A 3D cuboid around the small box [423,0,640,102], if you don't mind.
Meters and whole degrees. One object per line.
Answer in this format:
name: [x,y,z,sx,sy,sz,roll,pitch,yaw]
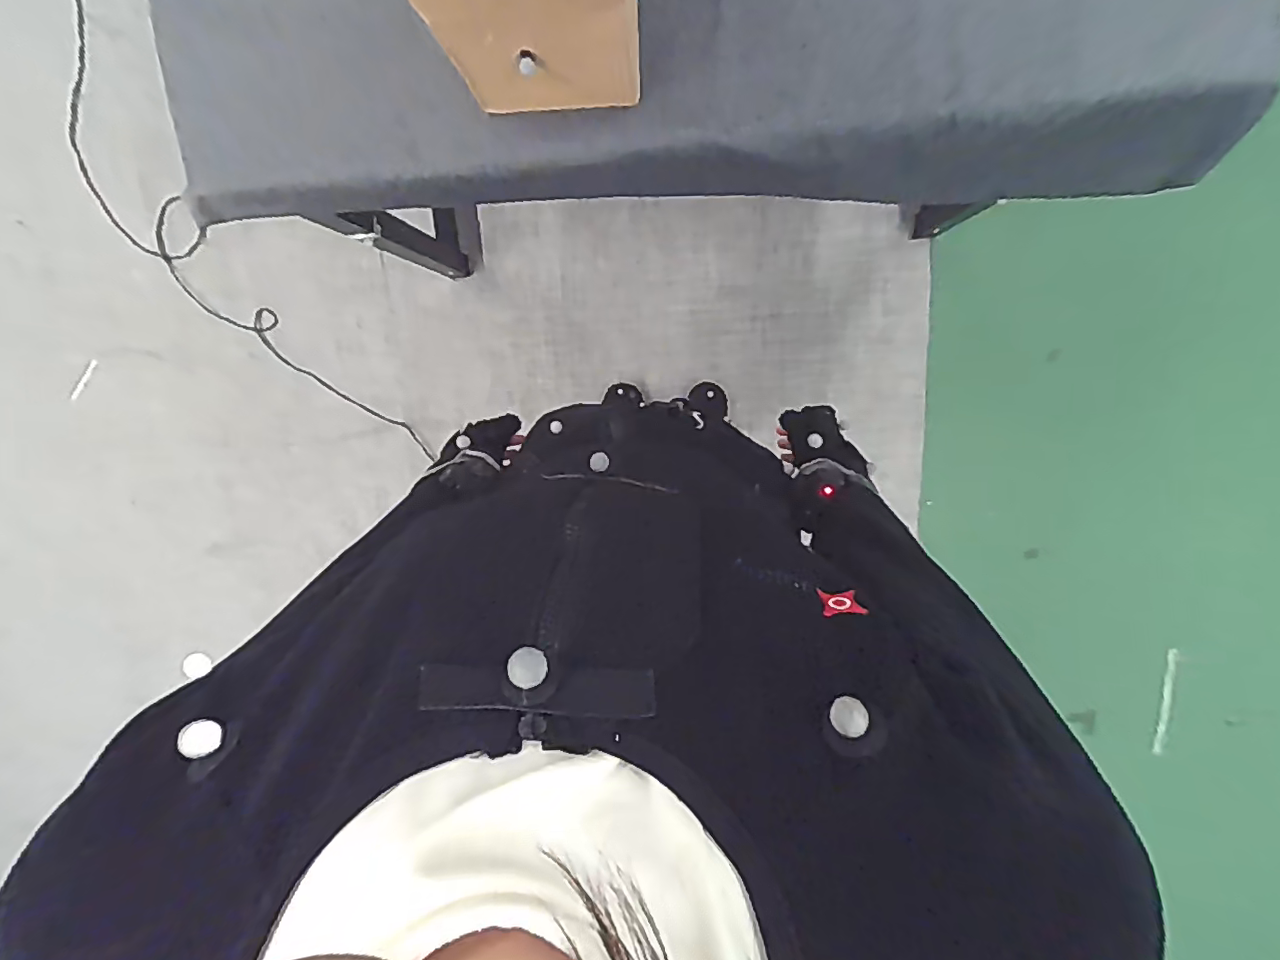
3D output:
small box: [-0.094,-0.494,0.520,0.179,0.176,0.168,-1,100,4]
